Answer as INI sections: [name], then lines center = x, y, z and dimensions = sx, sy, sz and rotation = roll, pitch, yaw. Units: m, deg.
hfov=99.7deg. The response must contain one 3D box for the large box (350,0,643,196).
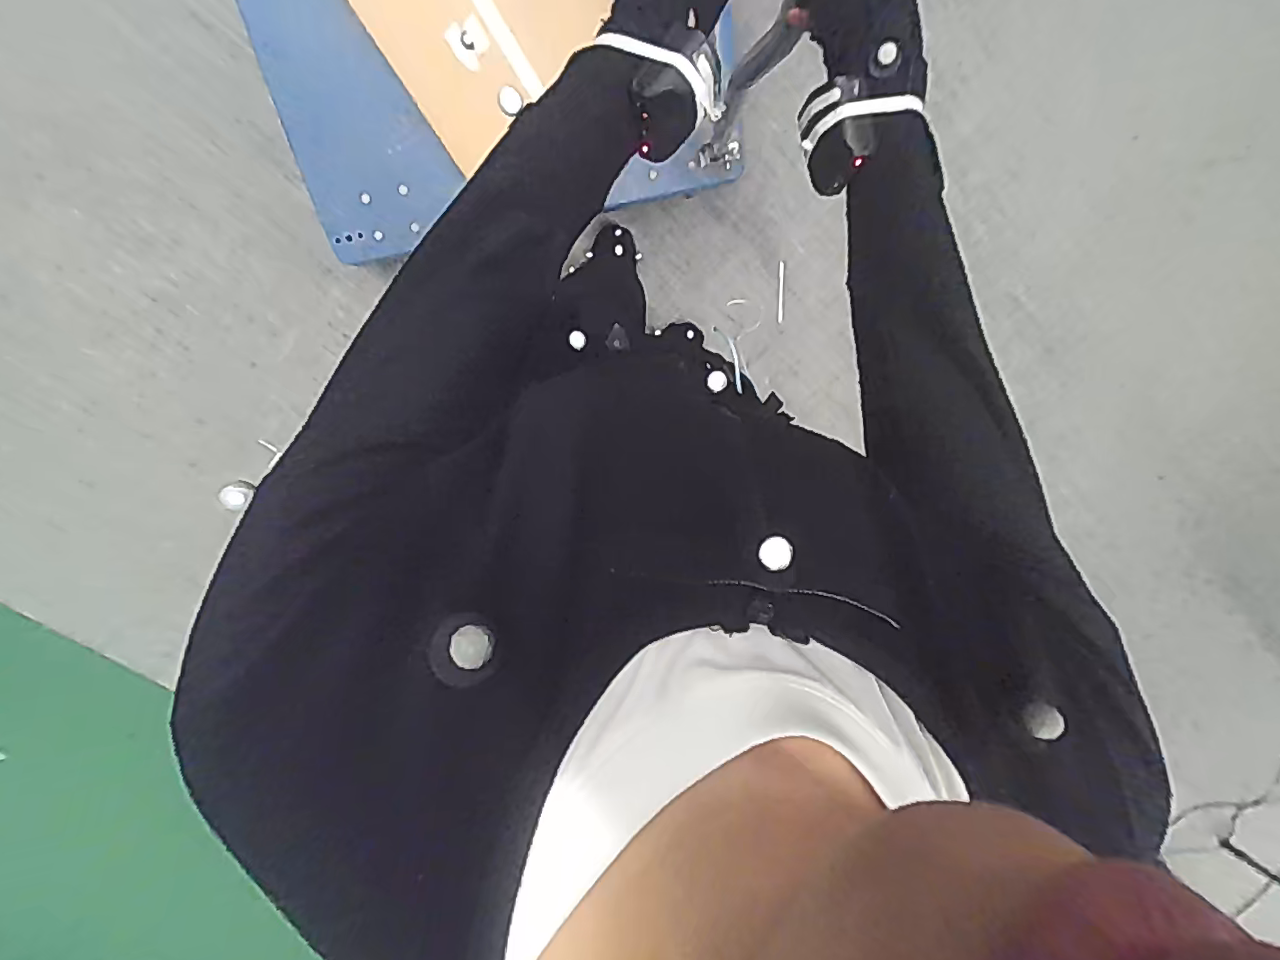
[large box]
center = -0.234, -0.748, 0.875
dimensions = 0.320, 0.320, 0.408
rotation = -32, 110, 13
